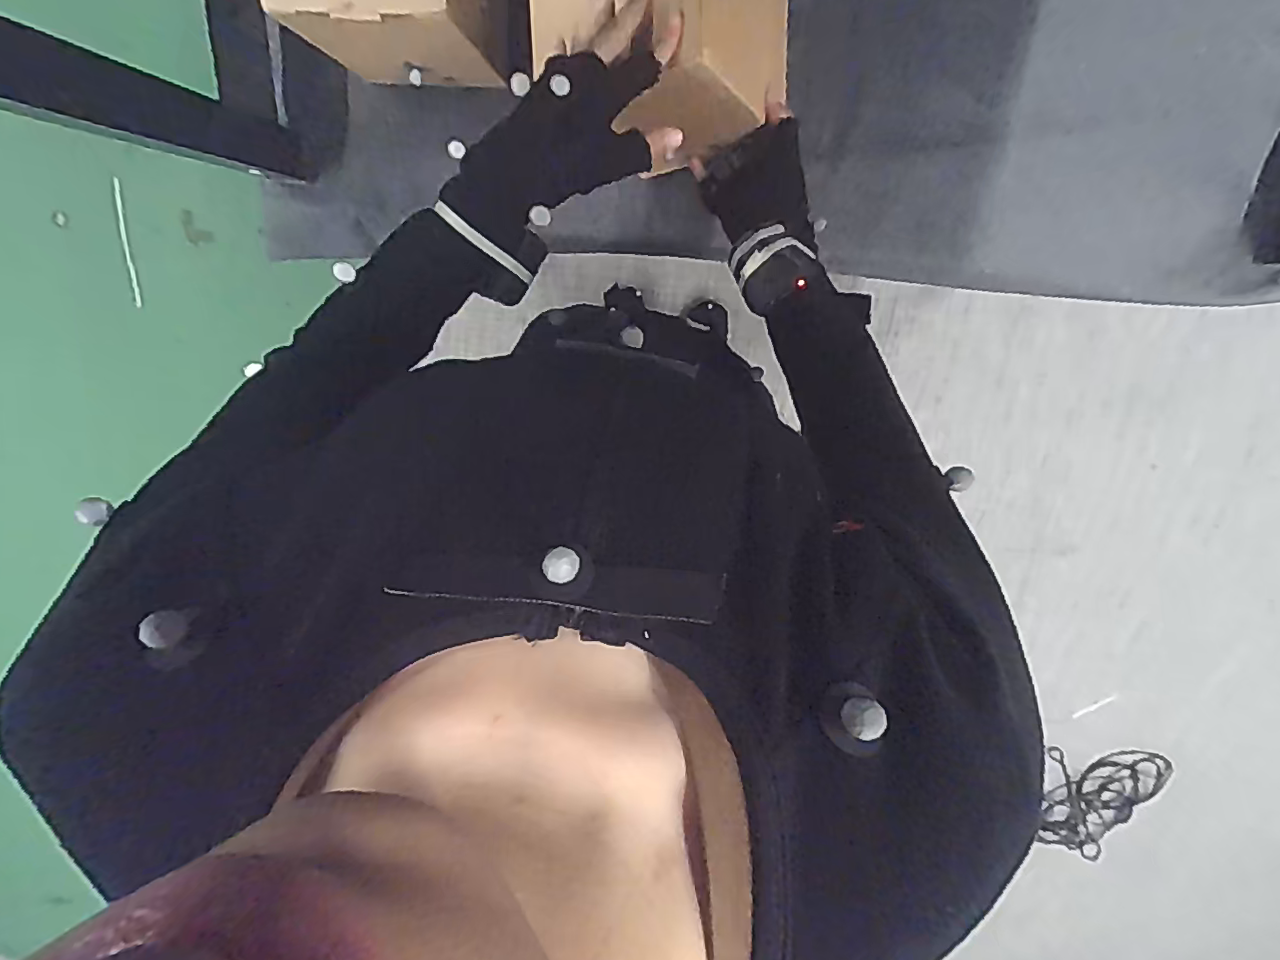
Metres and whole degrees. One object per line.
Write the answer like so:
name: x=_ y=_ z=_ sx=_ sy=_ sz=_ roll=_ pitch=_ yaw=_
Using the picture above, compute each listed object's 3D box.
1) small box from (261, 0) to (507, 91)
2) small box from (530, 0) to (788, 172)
small box: x=-0.228 y=-0.498 z=0.502 sx=0.168 sy=0.176 sz=0.179 roll=5 pitch=109 yaw=4
small box: x=0.022 y=-0.403 z=0.474 sx=0.168 sy=0.176 sz=0.179 roll=7 pitch=103 yaw=34
